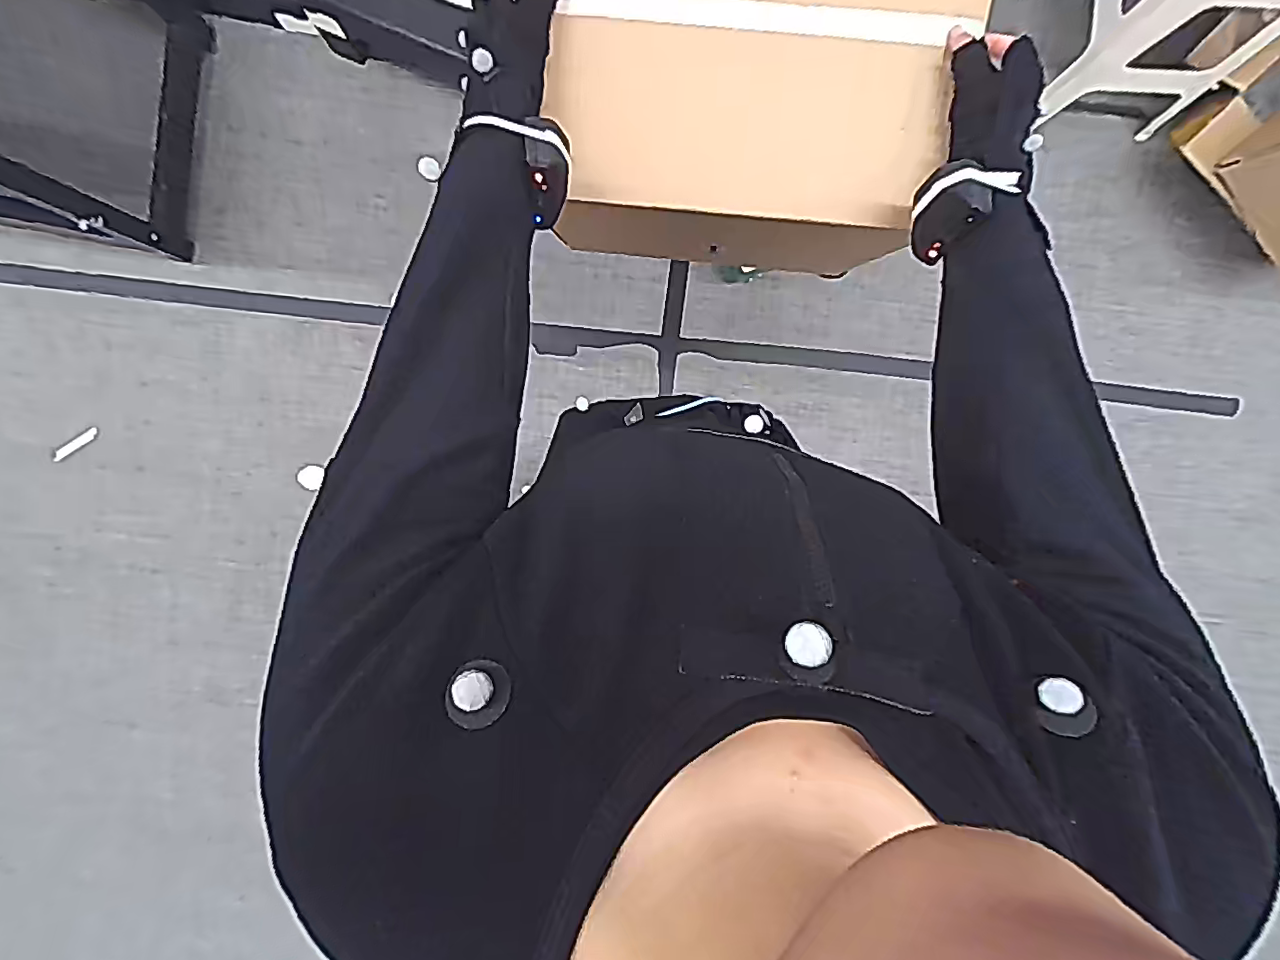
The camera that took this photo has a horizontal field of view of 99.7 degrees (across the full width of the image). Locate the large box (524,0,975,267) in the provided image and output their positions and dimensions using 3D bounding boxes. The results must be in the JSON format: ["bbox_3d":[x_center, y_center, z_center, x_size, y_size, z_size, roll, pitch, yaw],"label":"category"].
[{"bbox_3d":[0.102,-0.442,0.632,0.408,0.320,0.320,5,103,0],"label":"large box"}]
